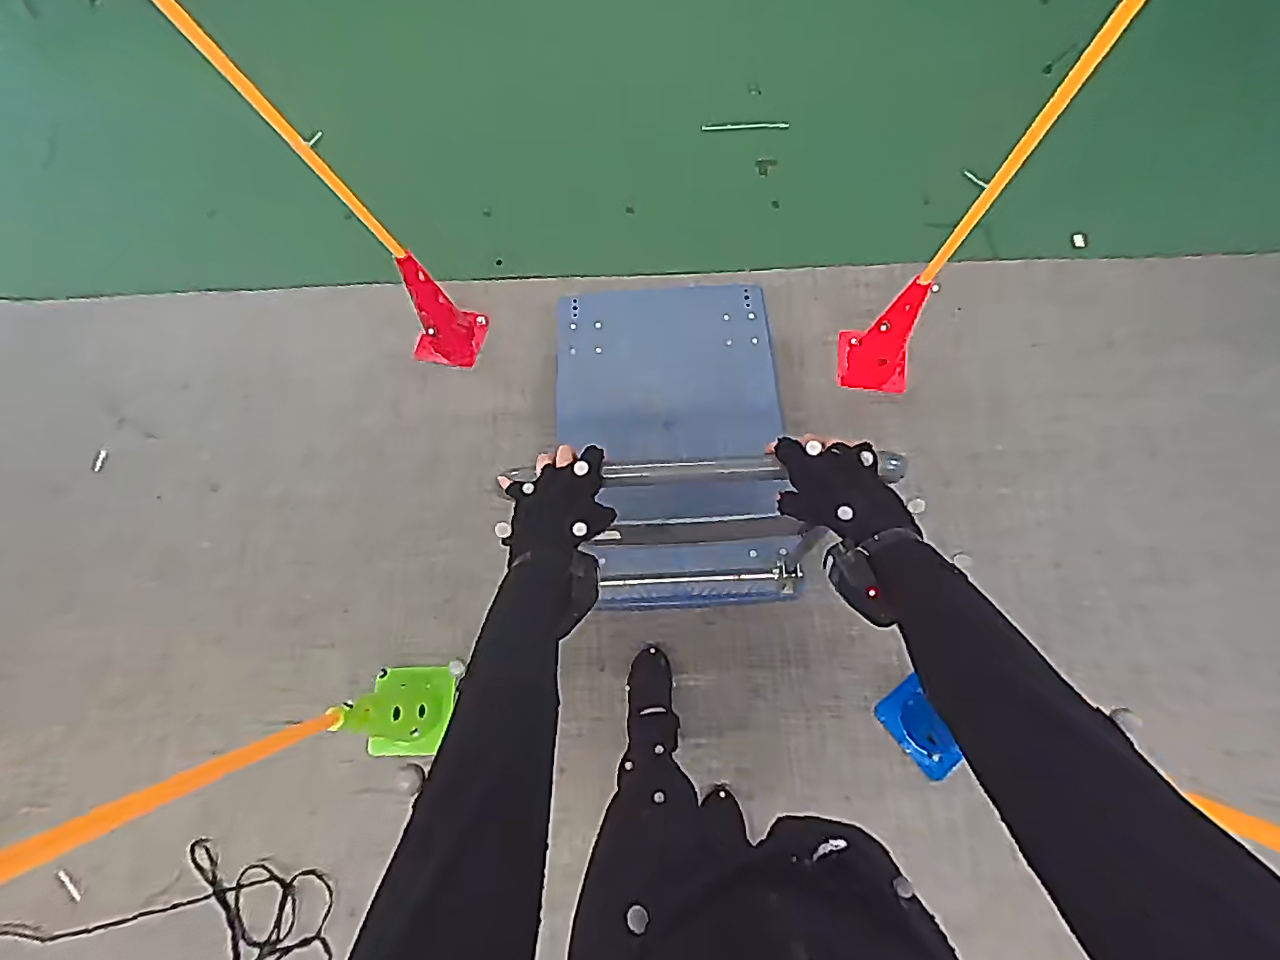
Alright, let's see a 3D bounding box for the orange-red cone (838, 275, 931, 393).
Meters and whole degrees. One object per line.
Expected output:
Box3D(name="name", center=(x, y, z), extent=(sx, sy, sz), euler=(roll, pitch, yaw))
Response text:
Box3D(name="orange-red cone", center=(0.688, -0.414, 1.455), extent=(0.198, 0.360, 0.199), euler=(9, 71, 7))
